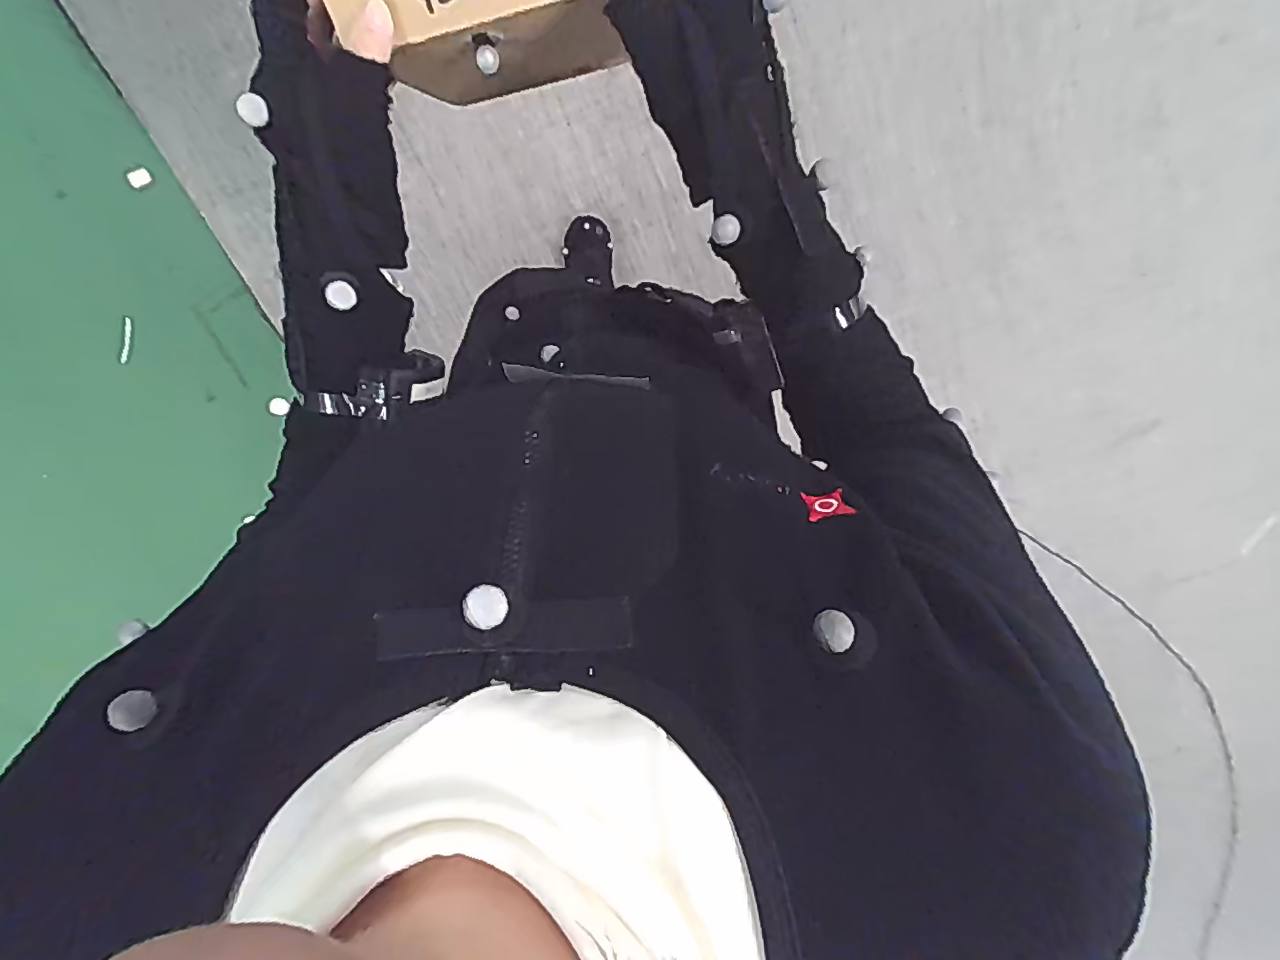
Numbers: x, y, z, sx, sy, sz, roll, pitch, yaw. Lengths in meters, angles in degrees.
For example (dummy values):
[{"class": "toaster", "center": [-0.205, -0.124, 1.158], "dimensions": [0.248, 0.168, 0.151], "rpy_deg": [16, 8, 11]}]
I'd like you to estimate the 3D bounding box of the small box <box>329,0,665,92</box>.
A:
[{"class": "small box", "center": [-0.080, -0.342, 0.290], "dimensions": [0.168, 0.176, 0.179], "rpy_deg": [-9, 118, 7]}]
